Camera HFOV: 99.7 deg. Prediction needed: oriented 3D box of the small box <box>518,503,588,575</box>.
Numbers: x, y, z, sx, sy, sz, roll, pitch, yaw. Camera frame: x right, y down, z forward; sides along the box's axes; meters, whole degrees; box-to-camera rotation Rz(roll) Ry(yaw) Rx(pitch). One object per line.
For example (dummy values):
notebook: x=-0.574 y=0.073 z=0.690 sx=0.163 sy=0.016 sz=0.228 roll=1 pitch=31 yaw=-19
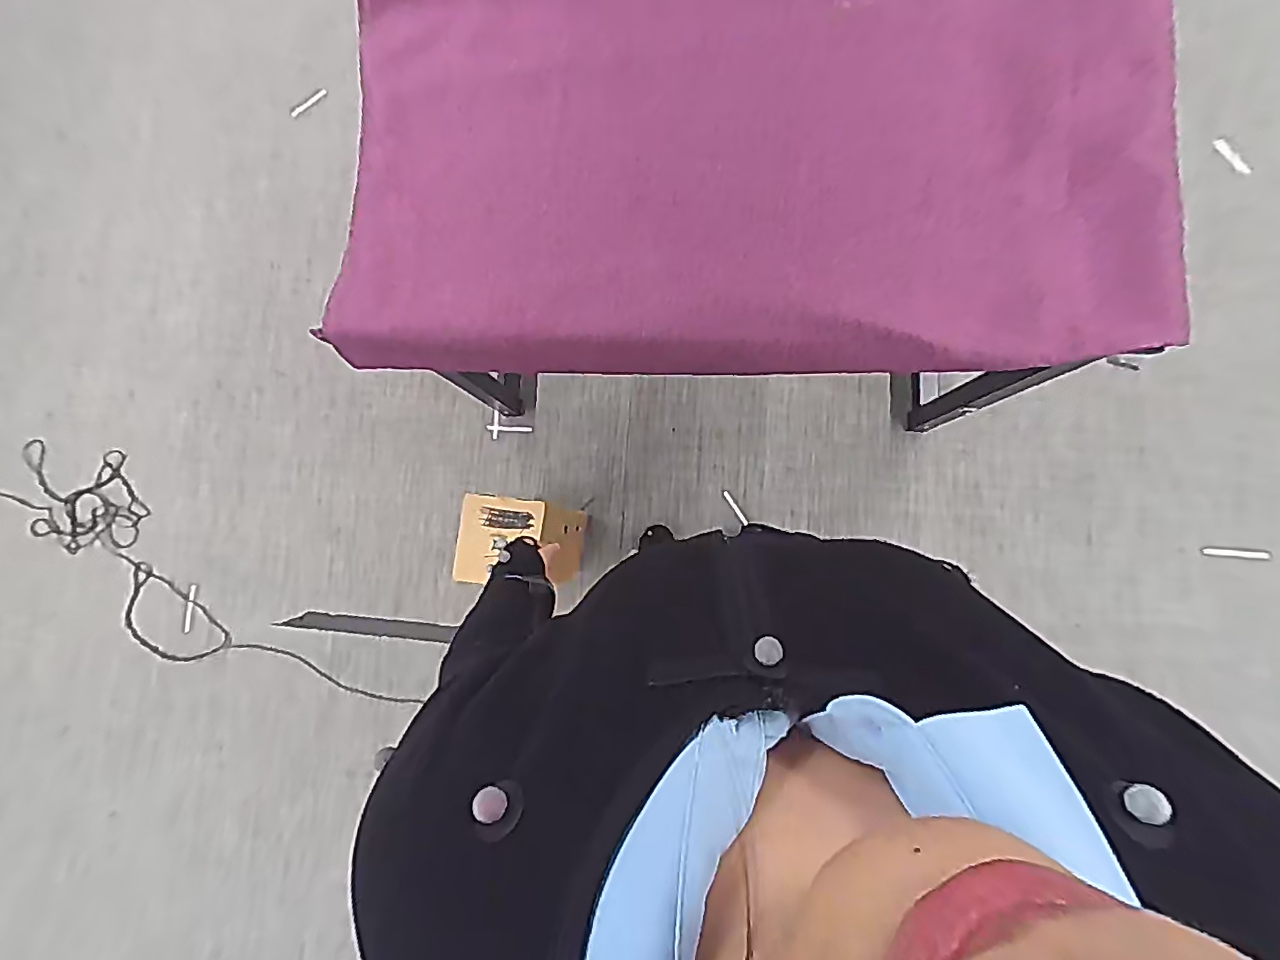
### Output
small box: x=-0.244 y=0.163 z=1.455 sx=0.168 sy=0.176 sz=0.179 roll=9 pitch=85 yaw=5

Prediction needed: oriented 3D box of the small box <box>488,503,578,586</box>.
small box: x=-0.248 y=0.151 z=1.291 sx=0.168 sy=0.176 sz=0.179 roll=4 pitch=85 yaw=5
